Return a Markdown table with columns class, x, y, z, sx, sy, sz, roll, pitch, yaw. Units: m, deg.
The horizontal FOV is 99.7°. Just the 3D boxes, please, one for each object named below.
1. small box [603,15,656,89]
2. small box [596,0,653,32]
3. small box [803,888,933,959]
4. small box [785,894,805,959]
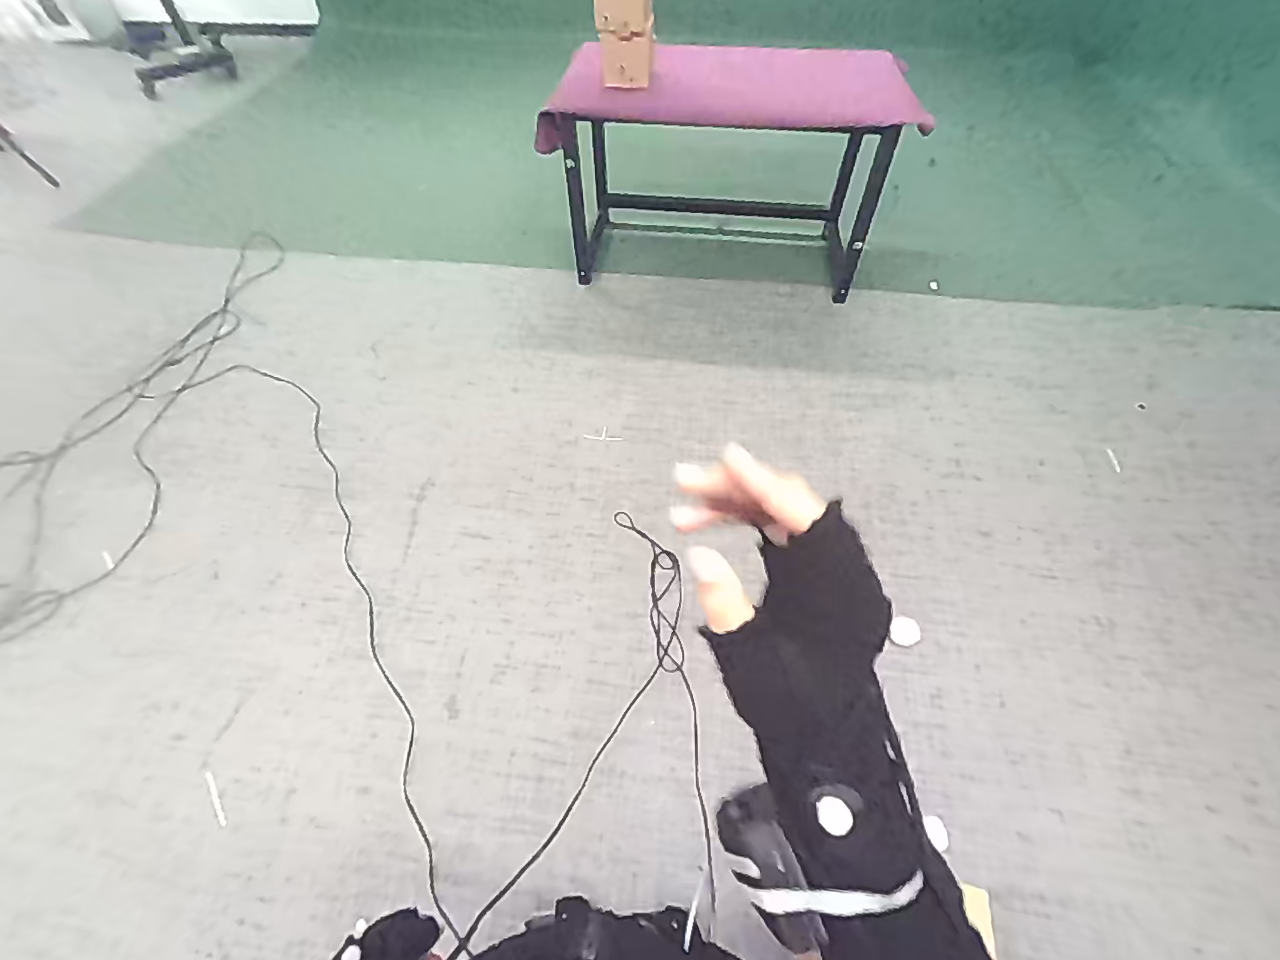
| class | x | y | z | sx | sy | sz | roll | pitch | yaw |
| --- | --- | --- | --- | --- | --- | --- | --- | --- | --- |
| small box | -0.037 | -1.509 | 1.902 | 0.168 | 0.176 | 0.179 | 5 | 55 | 3 |
| small box | -0.048 | -1.593 | 1.761 | 0.168 | 0.176 | 0.179 | 9 | 55 | 6 |
| small box | 0.381 | 0.813 | 0.919 | 0.168 | 0.176 | 0.179 | 6 | 55 | 4 |
| small box | 0.382 | 0.925 | 1.041 | 0.168 | 0.176 | 0.179 | 9 | 55 | 6 |
